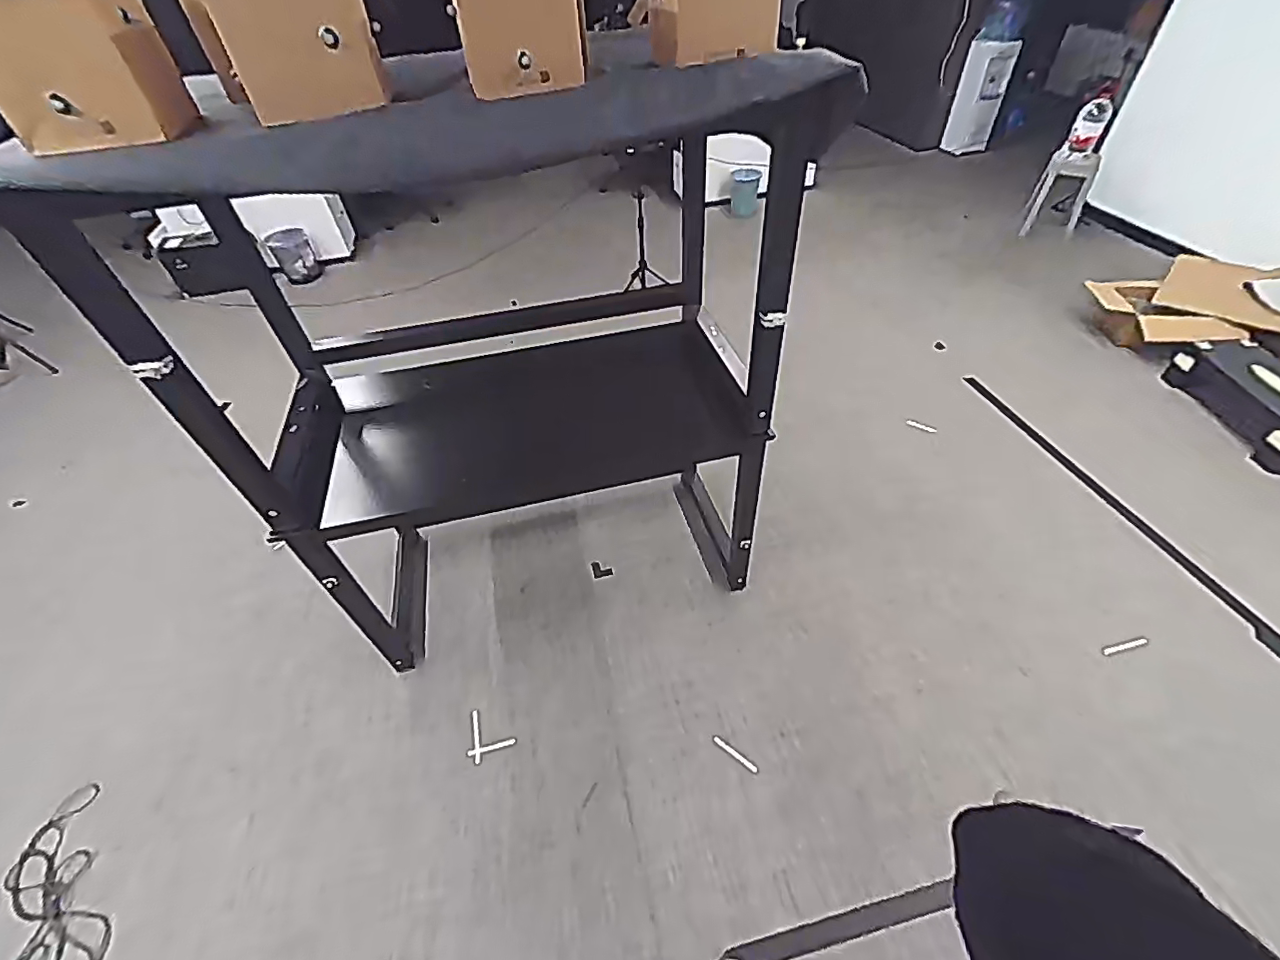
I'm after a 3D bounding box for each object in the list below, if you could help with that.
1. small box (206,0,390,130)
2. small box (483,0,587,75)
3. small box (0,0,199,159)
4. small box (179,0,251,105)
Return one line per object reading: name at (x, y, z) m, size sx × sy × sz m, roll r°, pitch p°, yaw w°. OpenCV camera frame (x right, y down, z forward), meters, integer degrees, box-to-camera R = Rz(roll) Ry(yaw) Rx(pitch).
small box at (-0.477, -0.623, 0.779) m, size 0.179 × 0.176 × 0.168 m, roll -13°, pitch 44°, yaw -11°
small box at (-0.197, -0.853, 0.980) m, size 0.168 × 0.176 × 0.179 m, roll -12°, pitch 46°, yaw -6°
small box at (-0.747, -0.553, 0.731) m, size 0.168 × 0.176 × 0.179 m, roll -15°, pitch 47°, yaw -10°
small box at (-0.629, -0.756, 0.921) m, size 0.168 × 0.176 × 0.179 m, roll -12°, pitch 46°, yaw -7°
